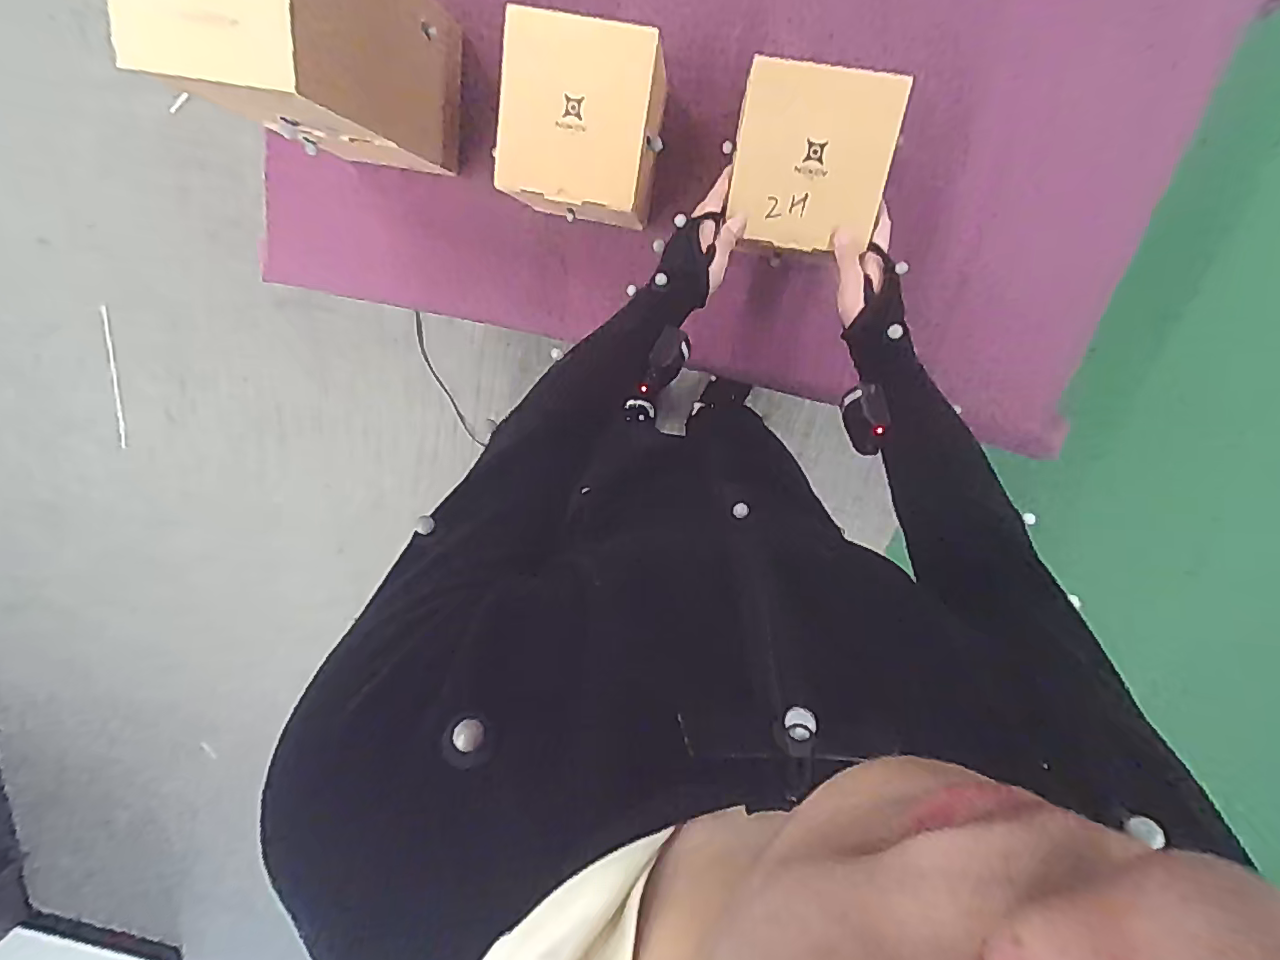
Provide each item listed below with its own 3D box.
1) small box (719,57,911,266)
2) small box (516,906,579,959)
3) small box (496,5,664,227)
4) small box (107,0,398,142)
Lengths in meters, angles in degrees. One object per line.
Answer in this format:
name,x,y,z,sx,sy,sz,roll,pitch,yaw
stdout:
small box,0.193,-0.370,0.661,0.168,0.176,0.179,11,110,2
small box,-0.297,1.484,1.679,0.168,0.176,0.179,16,110,0
small box,-0.065,-0.428,0.668,0.168,0.176,0.179,11,111,2
small box,-0.349,-0.452,0.511,0.168,0.176,0.179,11,109,2
